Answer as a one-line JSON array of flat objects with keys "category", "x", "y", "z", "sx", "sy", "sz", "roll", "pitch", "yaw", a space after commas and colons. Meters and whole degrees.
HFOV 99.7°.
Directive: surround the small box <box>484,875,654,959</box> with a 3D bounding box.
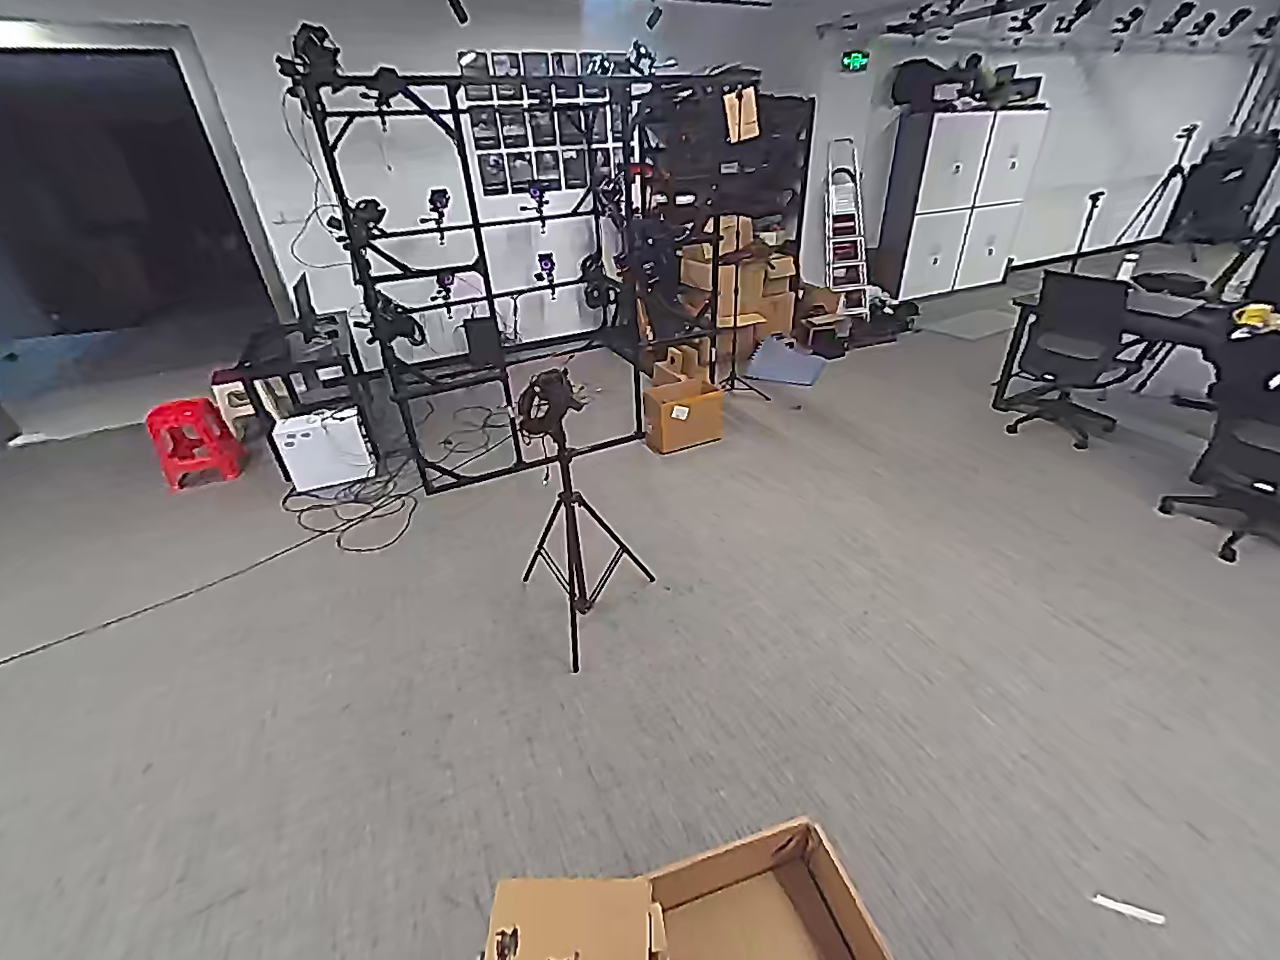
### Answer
[{"category": "small box", "x": -0.076, "y": 0.563, "z": 0.596, "sx": 0.179, "sy": 0.176, "sz": 0.168, "roll": 1, "pitch": 38, "yaw": 0}]
